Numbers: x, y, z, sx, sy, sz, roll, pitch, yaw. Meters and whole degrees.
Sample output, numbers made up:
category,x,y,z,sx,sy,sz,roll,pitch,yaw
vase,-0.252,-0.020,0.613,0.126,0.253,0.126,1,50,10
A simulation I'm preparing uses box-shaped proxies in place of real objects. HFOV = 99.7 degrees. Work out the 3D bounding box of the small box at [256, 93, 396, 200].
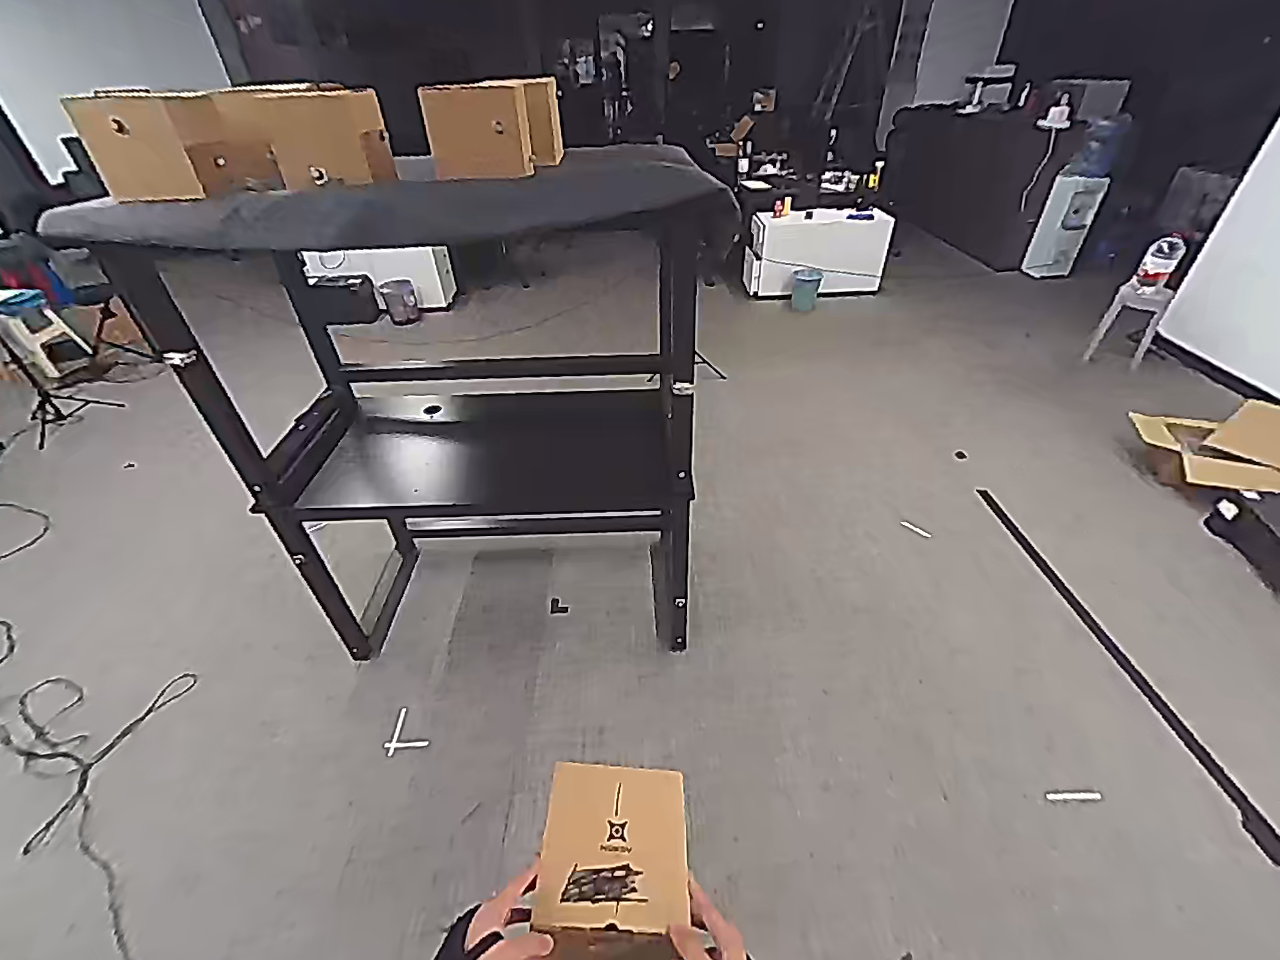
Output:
category,x,y,z,sx,sy,sz,roll,pitch,yaw
small box,-0.606,-0.661,1.073,0.168,0.176,0.179,-5,37,-3

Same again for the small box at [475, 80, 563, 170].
category,x,y,z,sx,sy,sz,roll,pitch,yaw
small box,-0.283,-0.856,1.309,0.168,0.176,0.179,-3,38,-1

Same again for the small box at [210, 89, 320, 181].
category,x,y,z,sx,sy,sz,roll,pitch,yaw
small box,-0.860,-0.829,1.297,0.179,0.176,0.168,-3,38,-2

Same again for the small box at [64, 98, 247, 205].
category,x,y,z,sx,sy,sz,roll,pitch,yaw
small box,-0.938,-0.650,1.069,0.179,0.176,0.168,-4,37,-3

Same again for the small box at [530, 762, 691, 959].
category,x,y,z,sx,sy,sz,roll,pitch,yaw
small box,-0.034,0.476,0.653,0.168,0.176,0.179,6,29,-2
